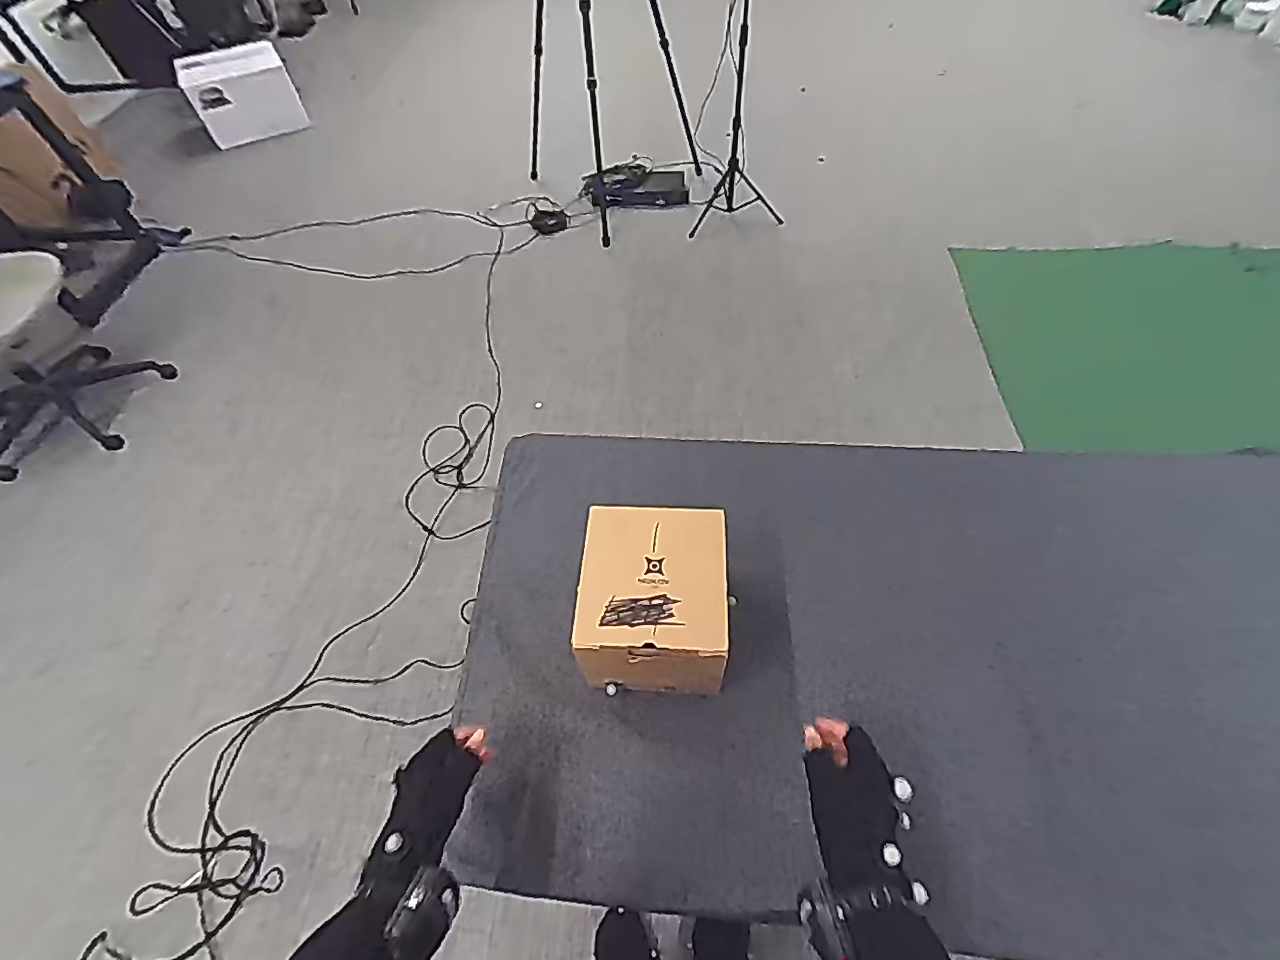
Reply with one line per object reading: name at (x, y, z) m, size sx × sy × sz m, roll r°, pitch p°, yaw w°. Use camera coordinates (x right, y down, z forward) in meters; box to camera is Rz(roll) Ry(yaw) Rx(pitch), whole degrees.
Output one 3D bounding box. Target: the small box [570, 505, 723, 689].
small box at (0.017, 0.150, 0.674) m, size 0.168 × 0.176 × 0.179 m, roll 2°, pitch 55°, yaw 4°
